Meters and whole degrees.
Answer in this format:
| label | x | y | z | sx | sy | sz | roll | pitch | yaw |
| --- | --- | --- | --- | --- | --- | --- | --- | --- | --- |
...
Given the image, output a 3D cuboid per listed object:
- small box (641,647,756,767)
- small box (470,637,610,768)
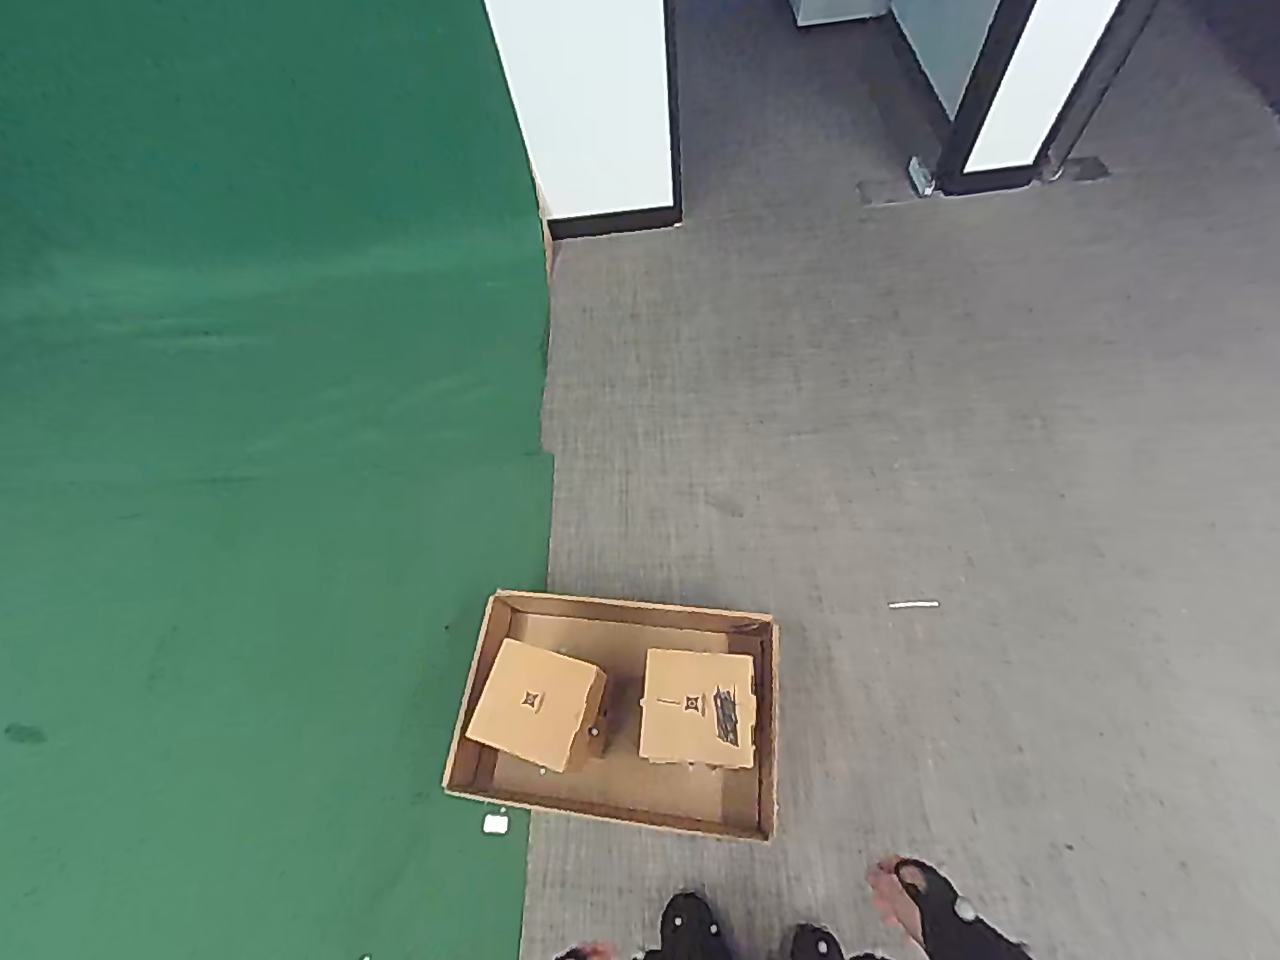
| label | x | y | z | sx | sy | sz | roll | pitch | yaw |
| --- | --- | --- | --- | --- | --- | --- | --- | --- | --- |
| small box | 0.104 | 0.391 | 0.929 | 0.179 | 0.176 | 0.168 | 1 | 63 | 9 |
| small box | -0.165 | 0.399 | 0.960 | 0.179 | 0.176 | 0.168 | 13 | 64 | 11 |
